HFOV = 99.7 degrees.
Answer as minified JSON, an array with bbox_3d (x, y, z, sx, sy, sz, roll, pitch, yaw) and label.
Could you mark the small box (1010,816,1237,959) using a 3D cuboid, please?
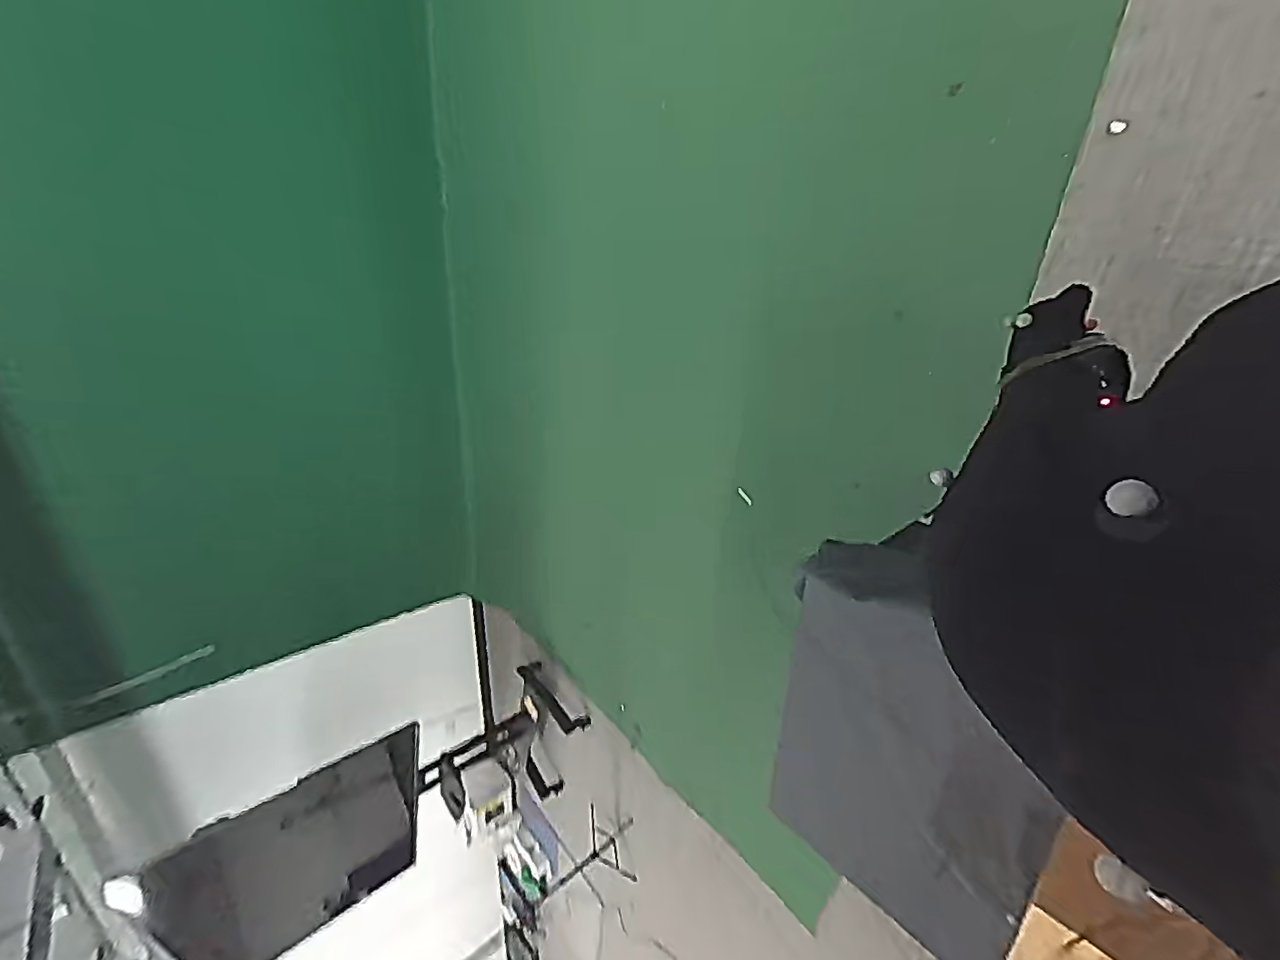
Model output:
[{"bbox_3d":[0.569,0.562,0.645,0.168,0.176,0.179,20,118,44],"label":"small box"}]
